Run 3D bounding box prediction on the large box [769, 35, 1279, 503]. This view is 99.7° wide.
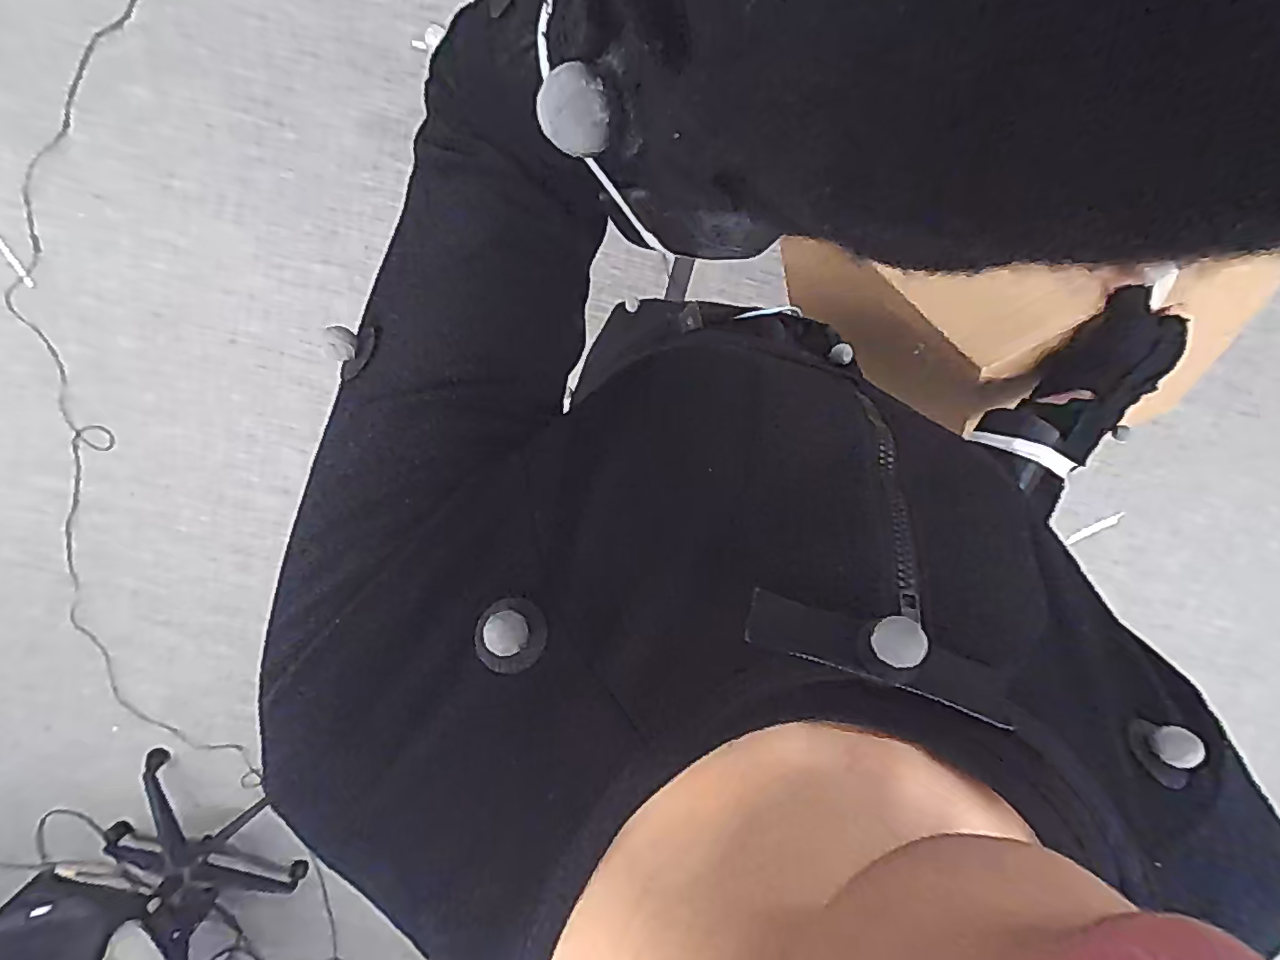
[{"bbox_3d":[0.407,-0.249,0.681,0.320,0.408,0.320,-28,147,7],"label":"large box"}]
